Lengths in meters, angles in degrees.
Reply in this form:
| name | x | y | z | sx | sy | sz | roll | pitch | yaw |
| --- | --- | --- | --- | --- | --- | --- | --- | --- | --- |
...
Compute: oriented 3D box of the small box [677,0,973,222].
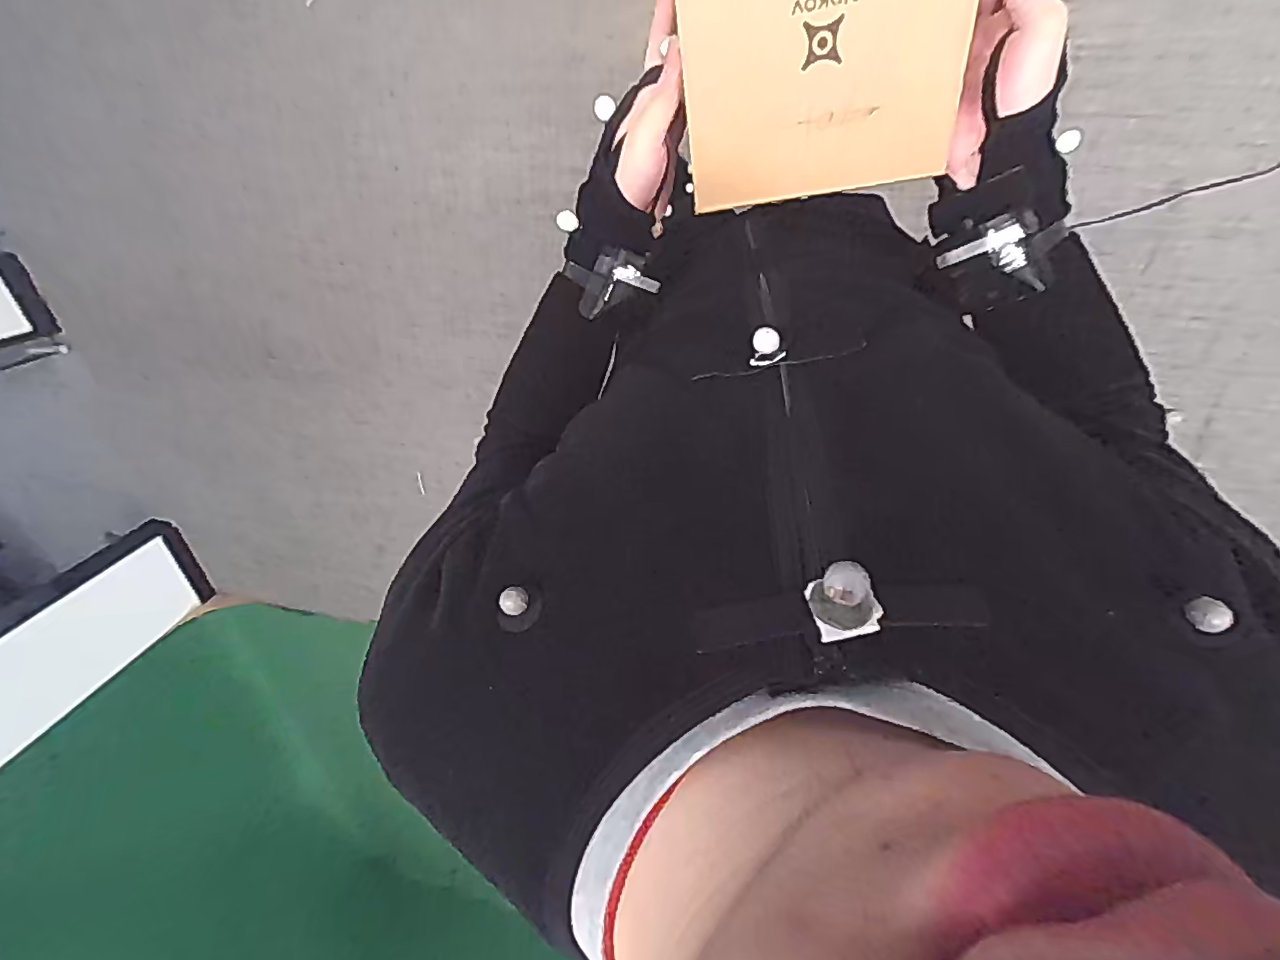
| name | x | y | z | sx | sy | sz | roll | pitch | yaw |
| --- | --- | --- | --- | --- | --- | --- | --- | --- | --- |
| small box | 0.112 | -0.307 | 0.375 | 0.168 | 0.176 | 0.179 | -3 | 135 | 10 |
